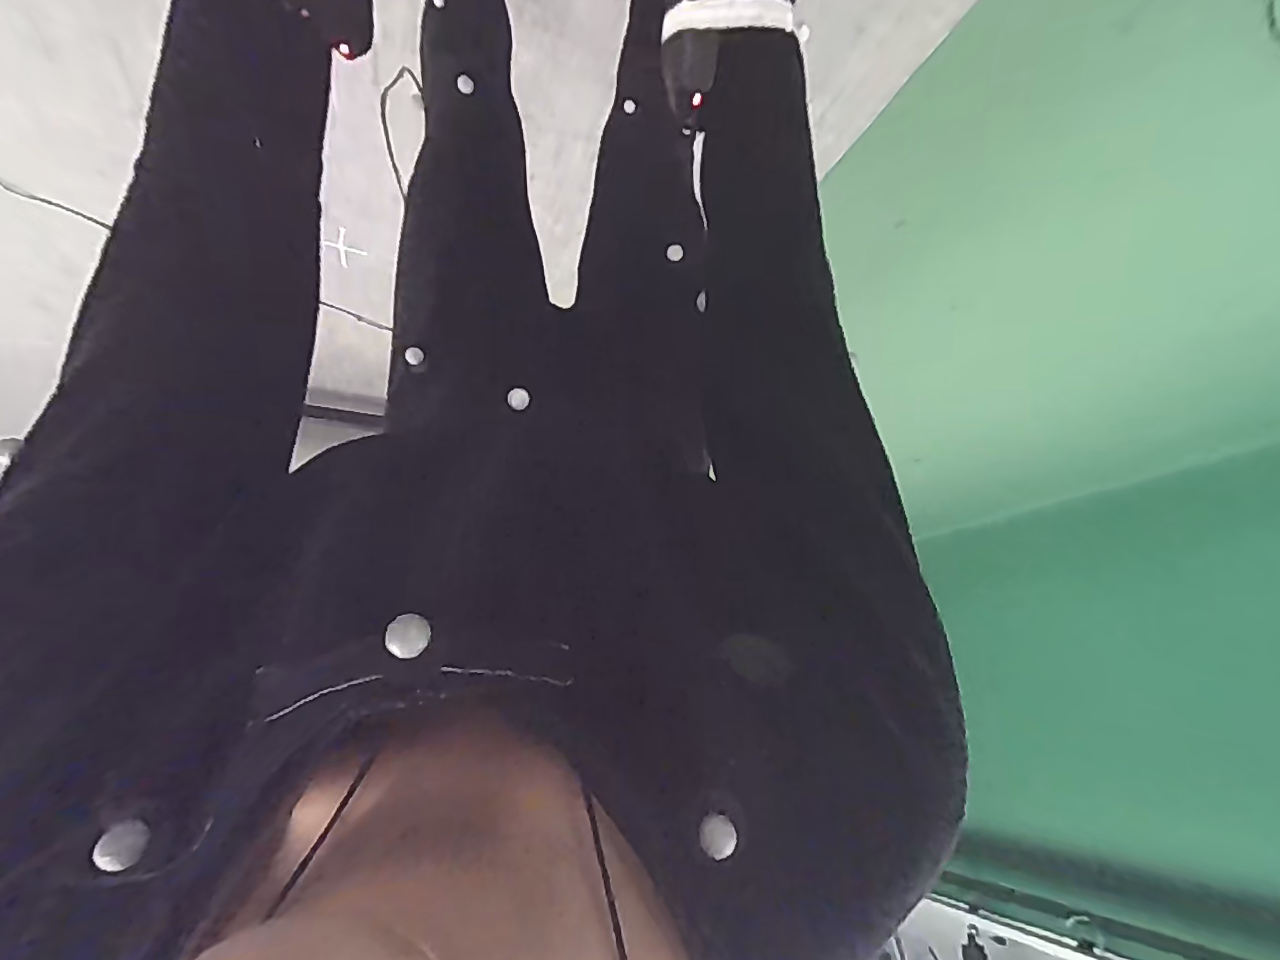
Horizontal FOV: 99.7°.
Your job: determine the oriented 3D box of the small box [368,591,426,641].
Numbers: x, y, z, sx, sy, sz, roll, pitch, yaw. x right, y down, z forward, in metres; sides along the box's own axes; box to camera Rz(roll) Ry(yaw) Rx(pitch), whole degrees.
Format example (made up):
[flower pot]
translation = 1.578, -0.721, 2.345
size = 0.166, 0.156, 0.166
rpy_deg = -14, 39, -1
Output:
[small box]
translation = -0.919, 0.516, 2.050
size = 0.179, 0.176, 0.168
rpy_deg = 7, 158, -21
